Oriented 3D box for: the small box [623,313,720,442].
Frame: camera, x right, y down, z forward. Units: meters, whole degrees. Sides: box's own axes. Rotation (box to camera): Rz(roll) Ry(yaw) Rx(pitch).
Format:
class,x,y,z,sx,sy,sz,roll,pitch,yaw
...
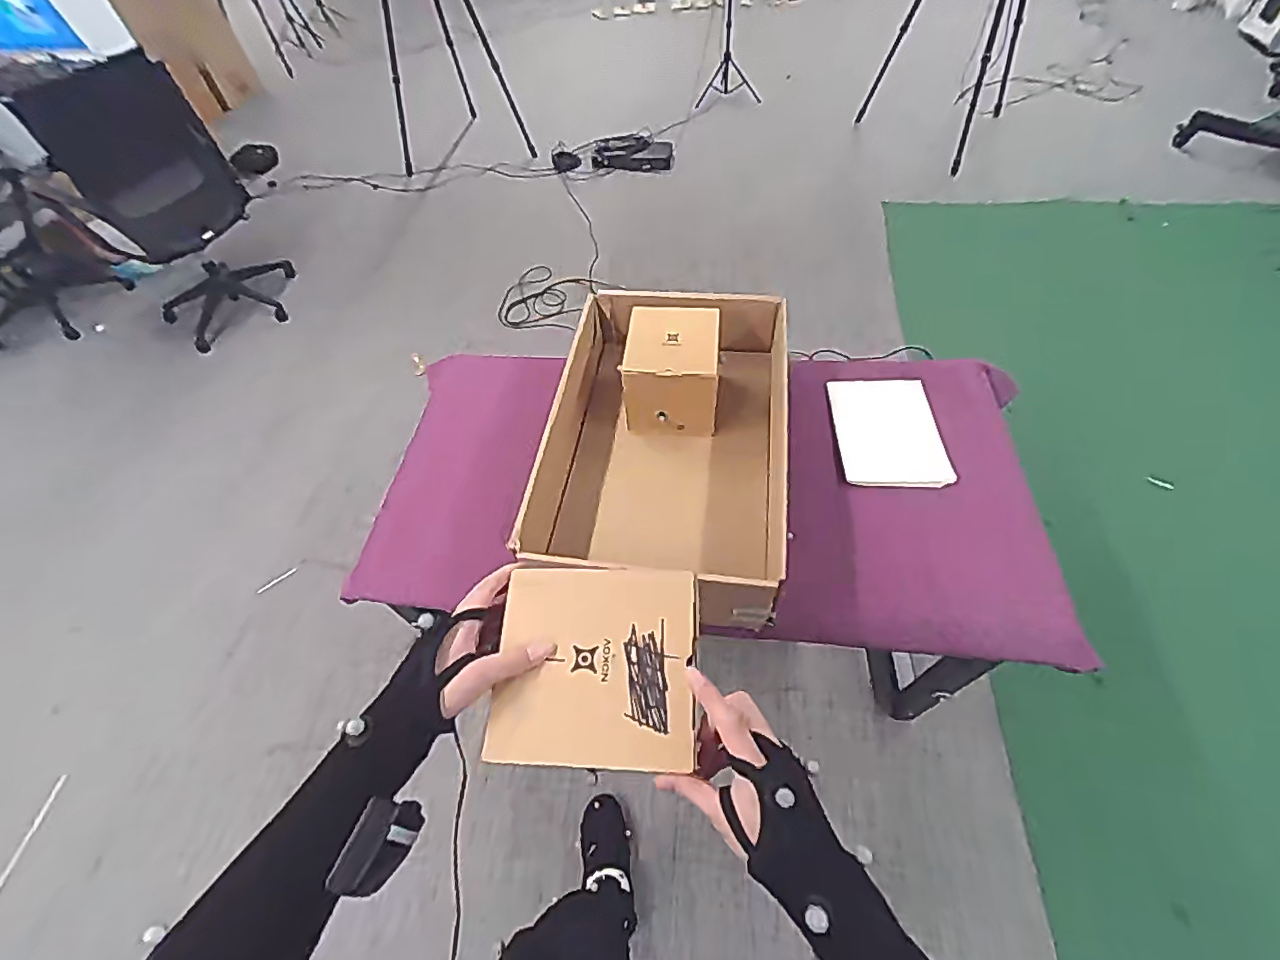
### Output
class,x,y,z,sx,sy,sz,roll,pitch,yaw
small box,0.063,-0.196,1.039,0.168,0.176,0.179,3,56,6
